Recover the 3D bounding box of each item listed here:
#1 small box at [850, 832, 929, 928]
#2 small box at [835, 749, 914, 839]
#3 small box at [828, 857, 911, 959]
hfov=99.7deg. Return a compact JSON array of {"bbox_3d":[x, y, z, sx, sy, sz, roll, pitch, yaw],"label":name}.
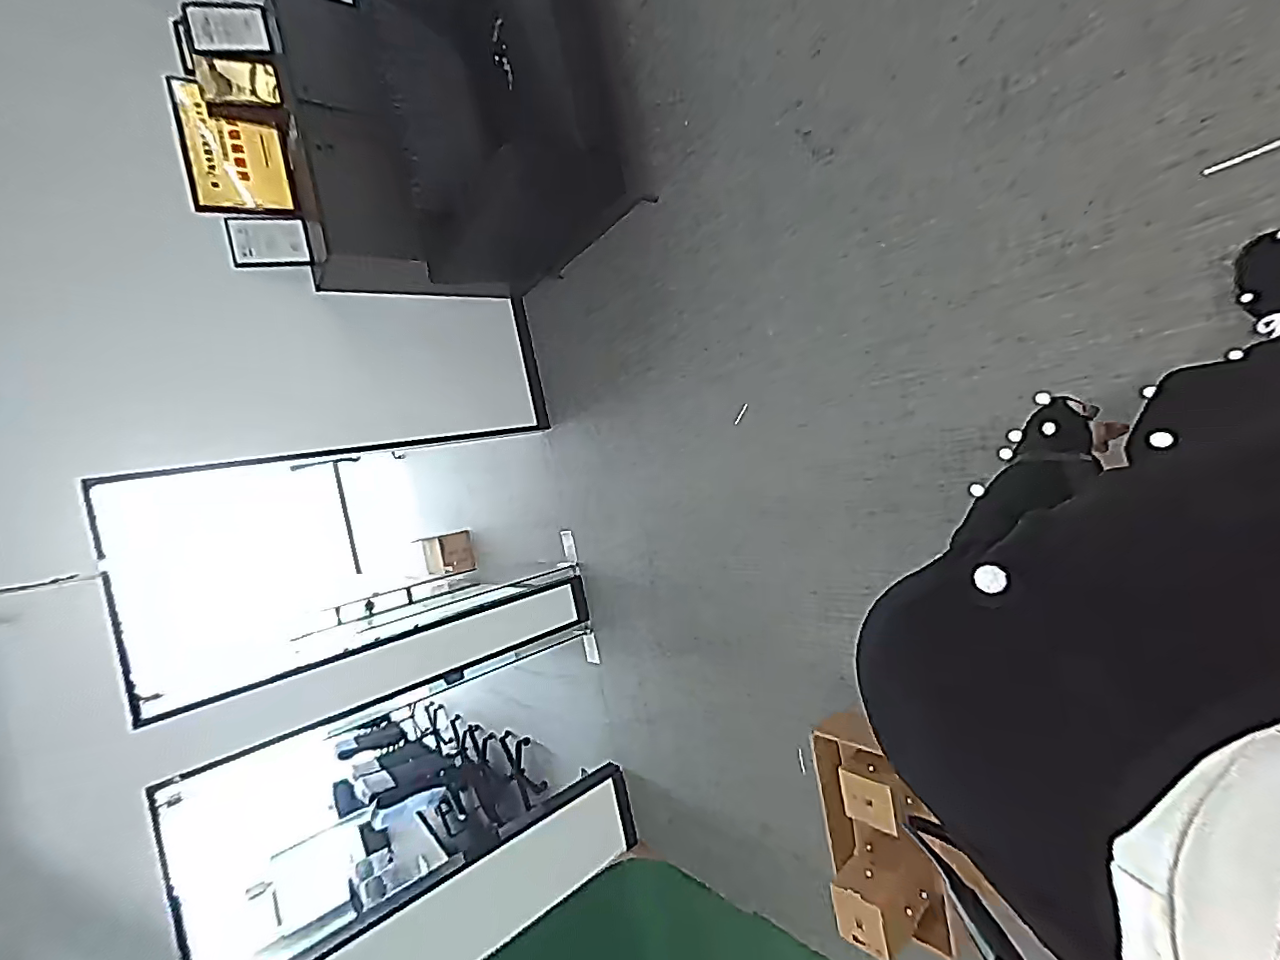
[{"bbox_3d":[0.821,1.289,1.765,0.179,0.176,0.168,-9,92,52],"label":"small box"},{"bbox_3d":[0.767,1.008,1.757,0.179,0.176,0.168,-6,95,52],"label":"small box"},{"bbox_3d":[0.702,1.309,1.653,0.168,0.176,0.179,-9,91,52],"label":"small box"}]
